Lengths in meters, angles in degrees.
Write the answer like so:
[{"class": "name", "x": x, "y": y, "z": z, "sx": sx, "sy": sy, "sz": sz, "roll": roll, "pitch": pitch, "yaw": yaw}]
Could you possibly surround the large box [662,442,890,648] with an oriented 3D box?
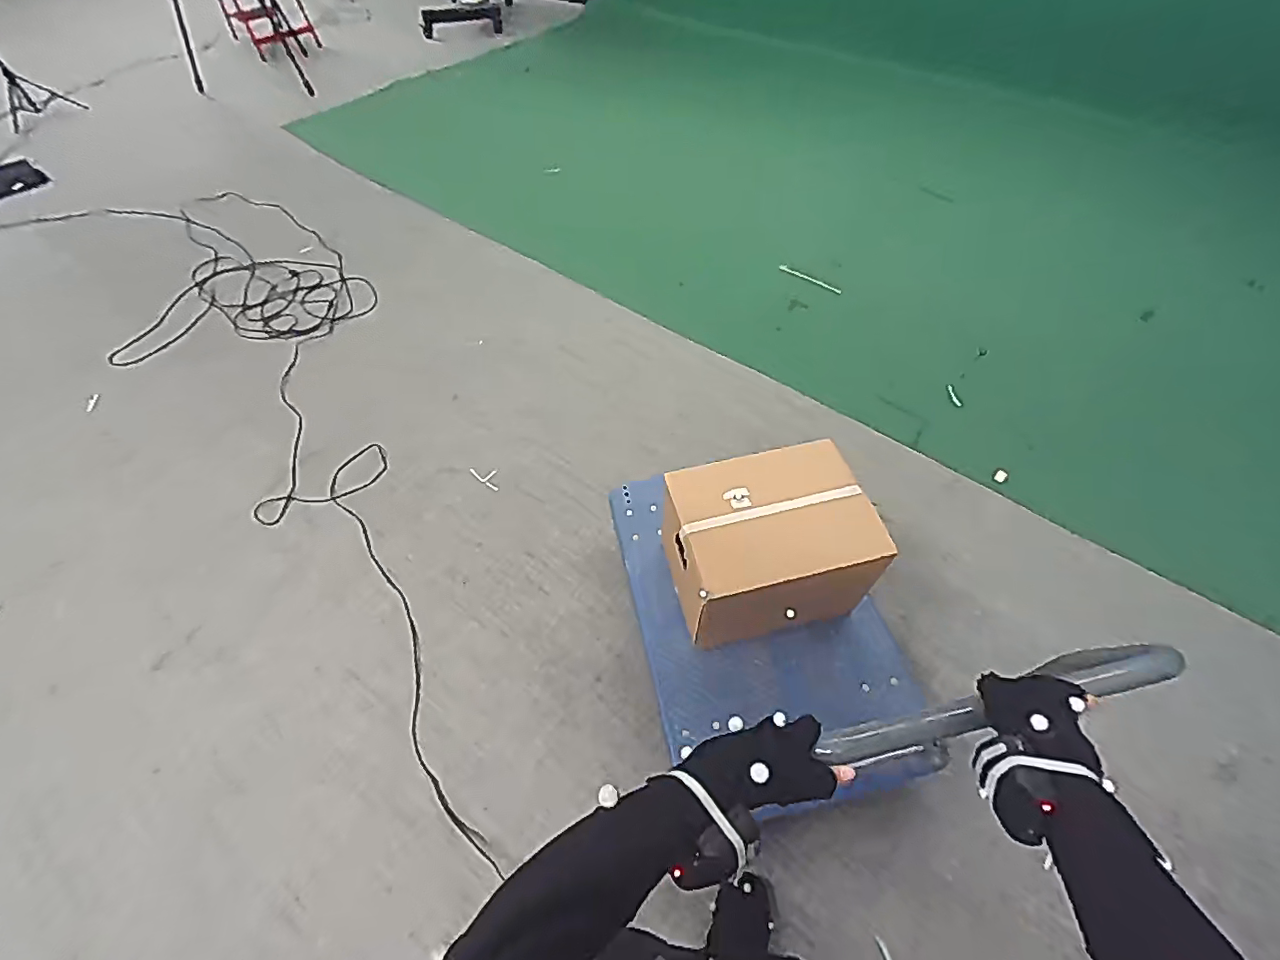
[{"class": "large box", "x": 0.286, "y": 0.158, "z": 1.272, "sx": 0.408, "sy": 0.320, "sz": 0.320, "roll": -13, "pitch": 55, "yaw": -7}]
